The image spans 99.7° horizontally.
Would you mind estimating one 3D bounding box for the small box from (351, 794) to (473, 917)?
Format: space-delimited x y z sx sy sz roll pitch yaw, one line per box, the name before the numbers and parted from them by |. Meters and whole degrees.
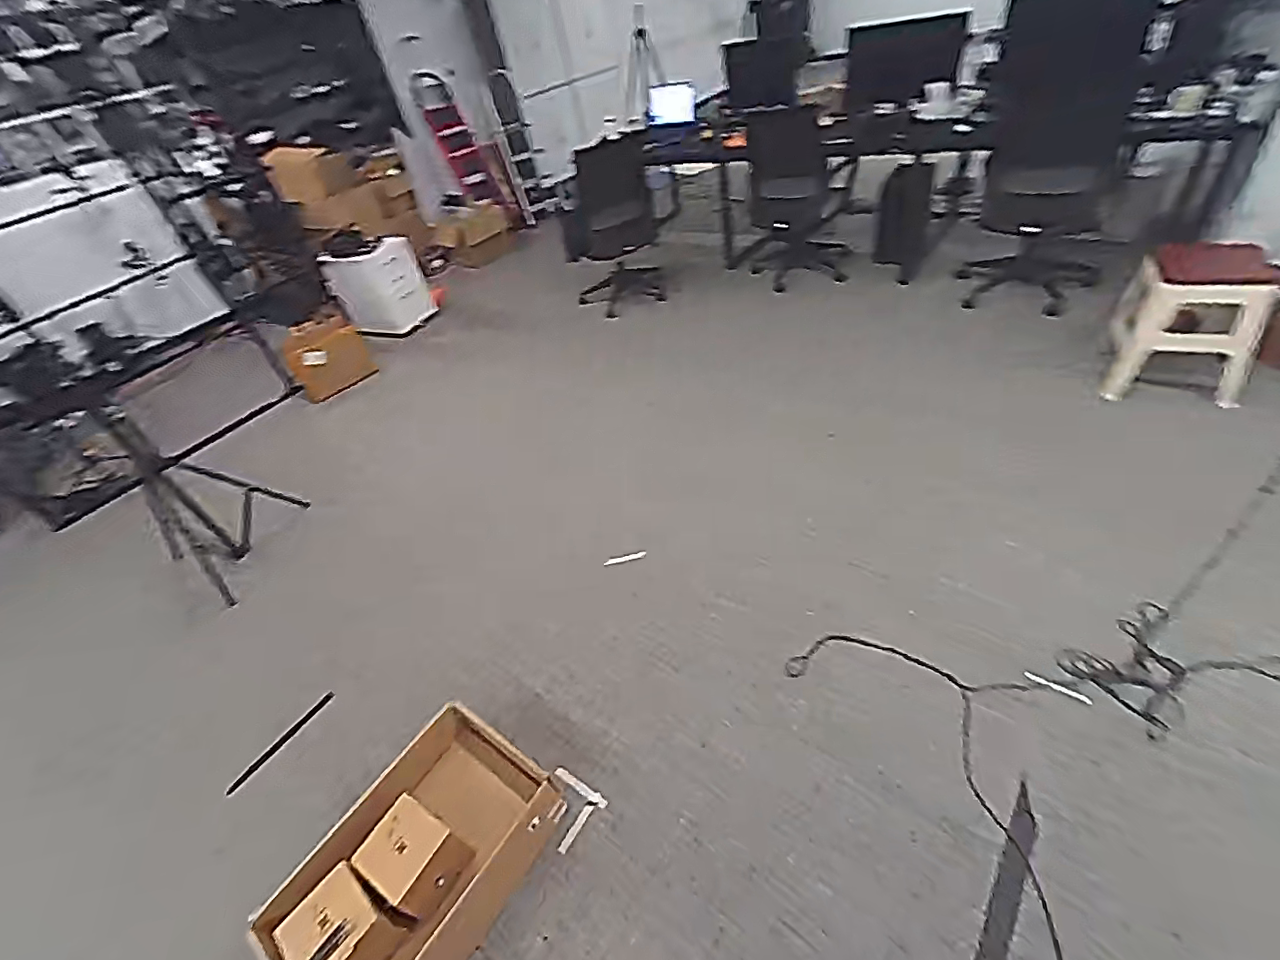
small box | -0.534 0.899 1.291 0.179 0.176 0.168 15 48 30
